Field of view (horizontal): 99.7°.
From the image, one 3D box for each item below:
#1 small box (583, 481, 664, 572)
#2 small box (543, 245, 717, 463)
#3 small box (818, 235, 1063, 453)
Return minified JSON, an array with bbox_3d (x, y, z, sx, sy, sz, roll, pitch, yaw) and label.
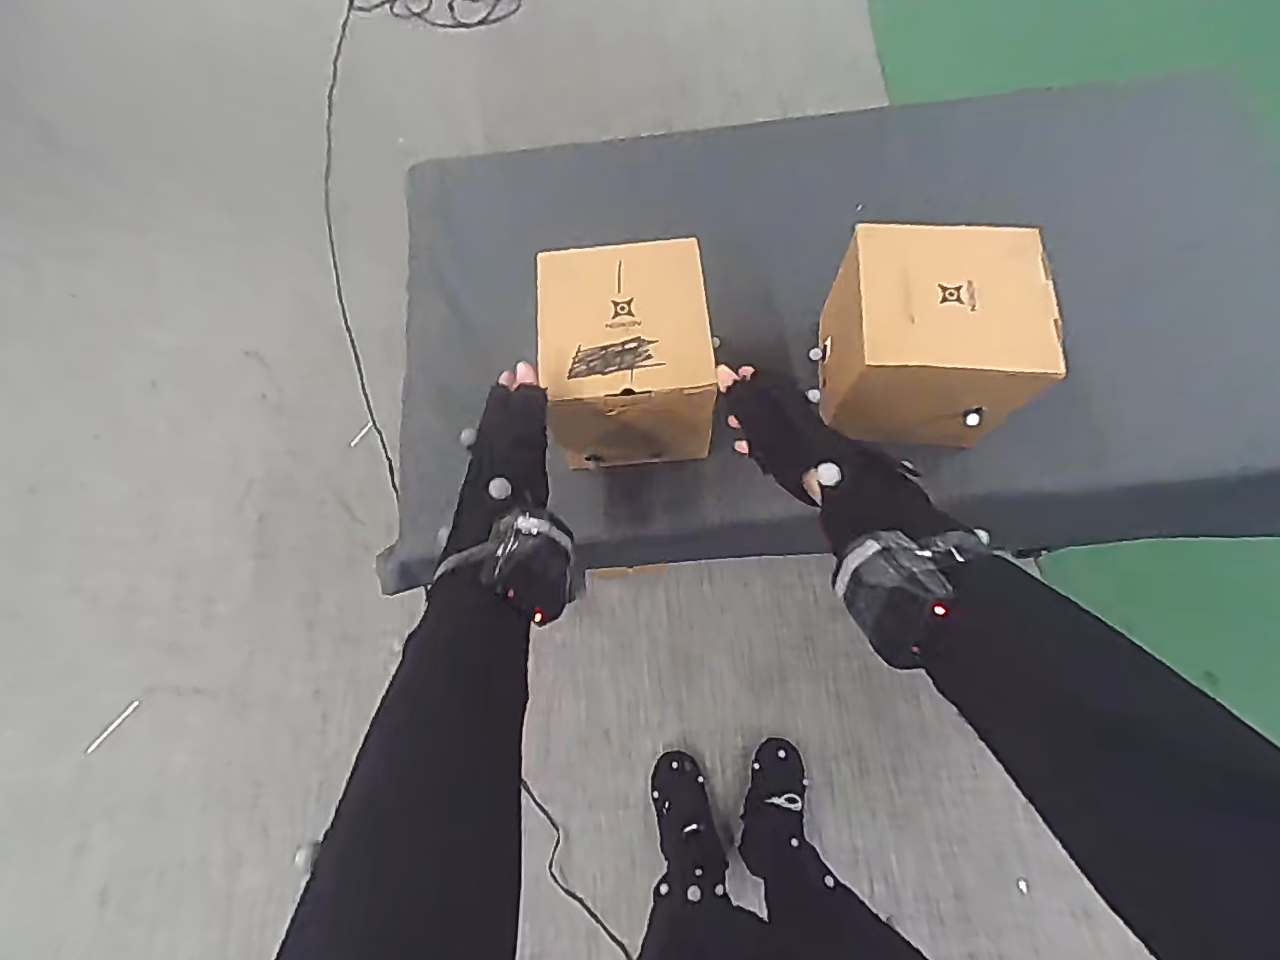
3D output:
[{"bbox_3d":[-0.035,0.118,1.291,0.168,0.176,0.179,-10,72,-1],"label":"small box"},{"bbox_3d":[-0.008,-0.125,0.598,0.168,0.176,0.179,-4,69,2],"label":"small box"},{"bbox_3d":[0.304,-0.137,0.589,0.179,0.176,0.168,4,70,5],"label":"small box"}]
